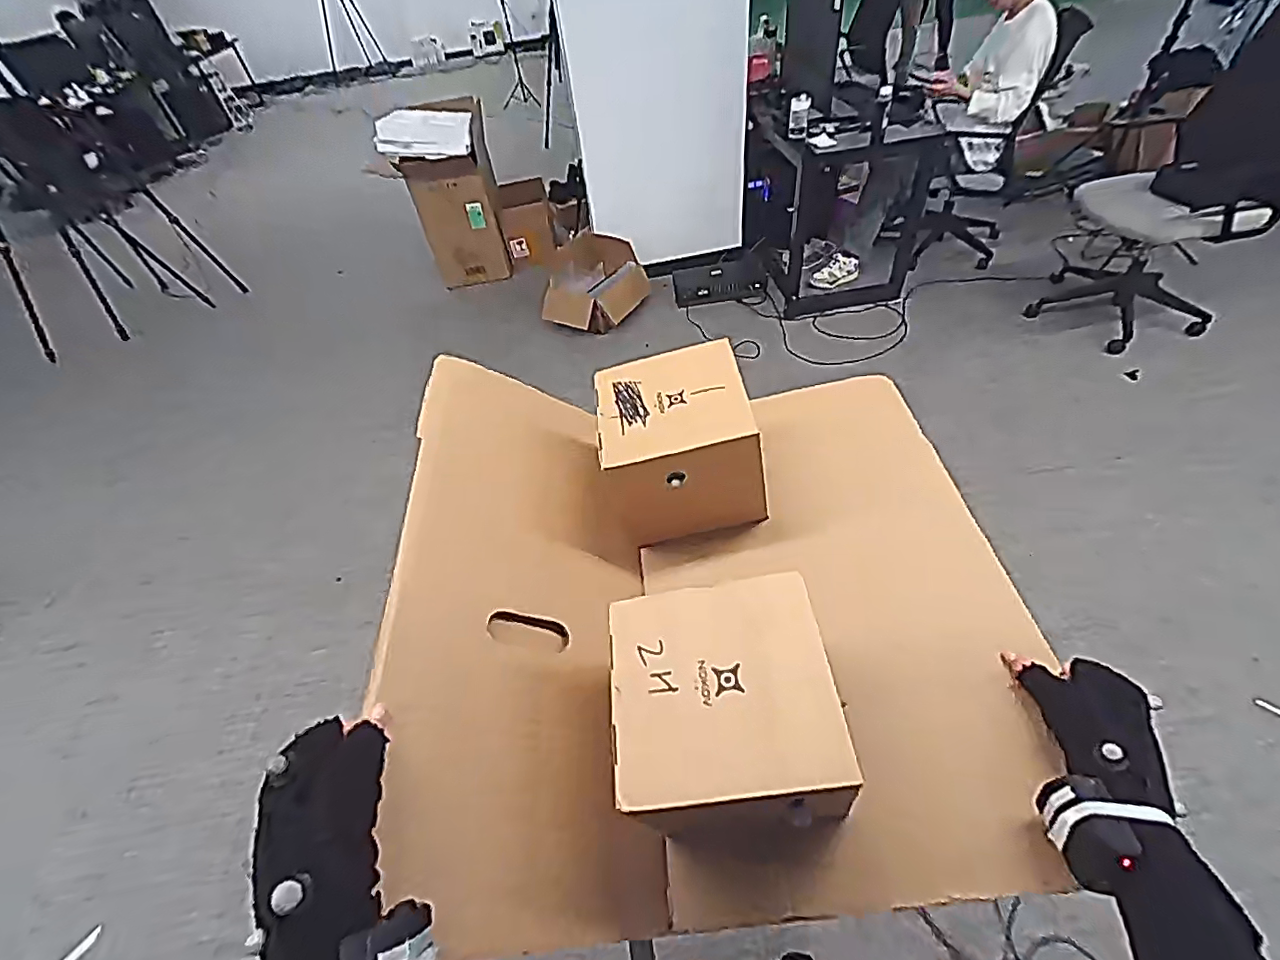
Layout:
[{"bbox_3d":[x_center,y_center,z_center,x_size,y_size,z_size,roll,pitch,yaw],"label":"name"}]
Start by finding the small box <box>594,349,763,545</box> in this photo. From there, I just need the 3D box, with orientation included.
[{"bbox_3d":[0.051,-0.035,0.700,0.179,0.176,0.168,-13,51,7],"label":"small box"}]
